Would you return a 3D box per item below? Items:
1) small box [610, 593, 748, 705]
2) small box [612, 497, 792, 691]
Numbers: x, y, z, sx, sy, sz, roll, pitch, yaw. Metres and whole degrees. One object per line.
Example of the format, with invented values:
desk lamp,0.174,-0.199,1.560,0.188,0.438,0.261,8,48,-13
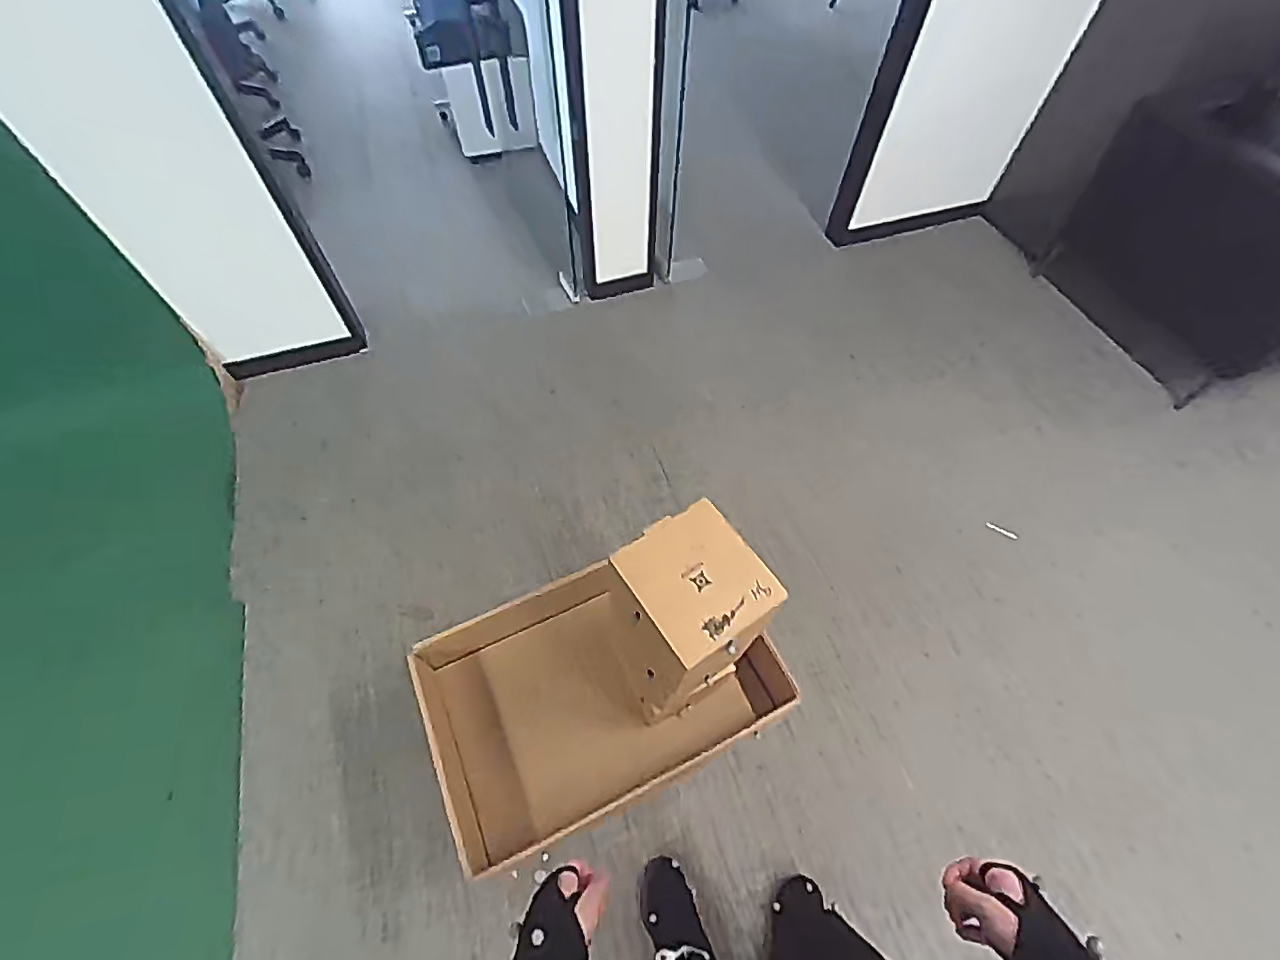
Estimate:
small box,0.065,0.248,0.889,0.168,0.176,0.179,-27,63,-18
small box,0.074,0.162,0.748,0.168,0.176,0.179,-30,64,-18
